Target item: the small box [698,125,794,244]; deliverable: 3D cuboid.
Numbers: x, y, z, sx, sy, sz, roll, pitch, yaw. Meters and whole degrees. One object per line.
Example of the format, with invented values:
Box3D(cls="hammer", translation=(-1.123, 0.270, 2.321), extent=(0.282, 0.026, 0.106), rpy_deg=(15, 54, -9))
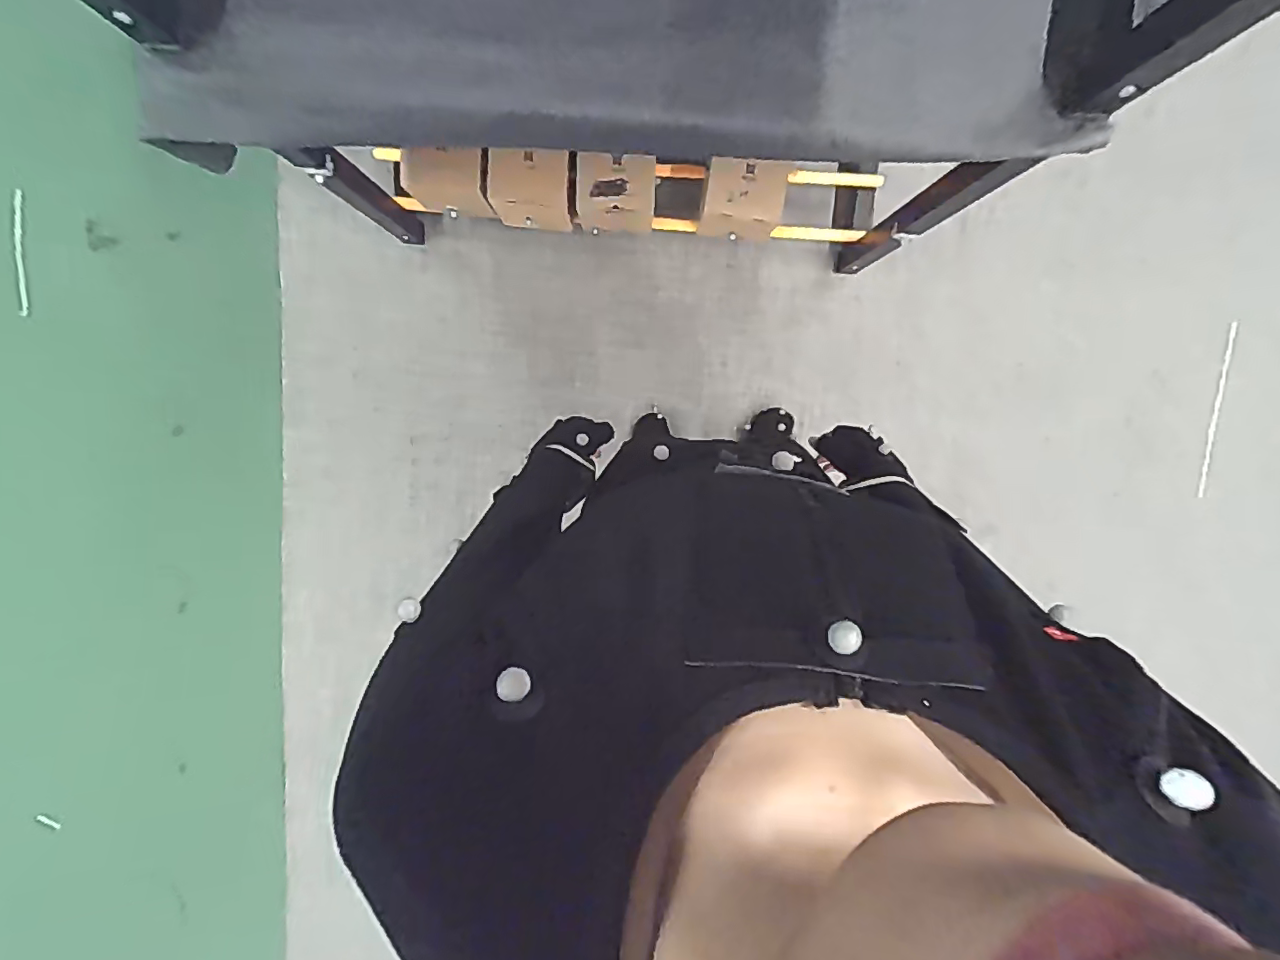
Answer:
Box3D(cls="small box", translation=(0.228, -0.652, 1.211), extent=(0.168, 0.176, 0.179), rpy_deg=(8, 99, -1))
